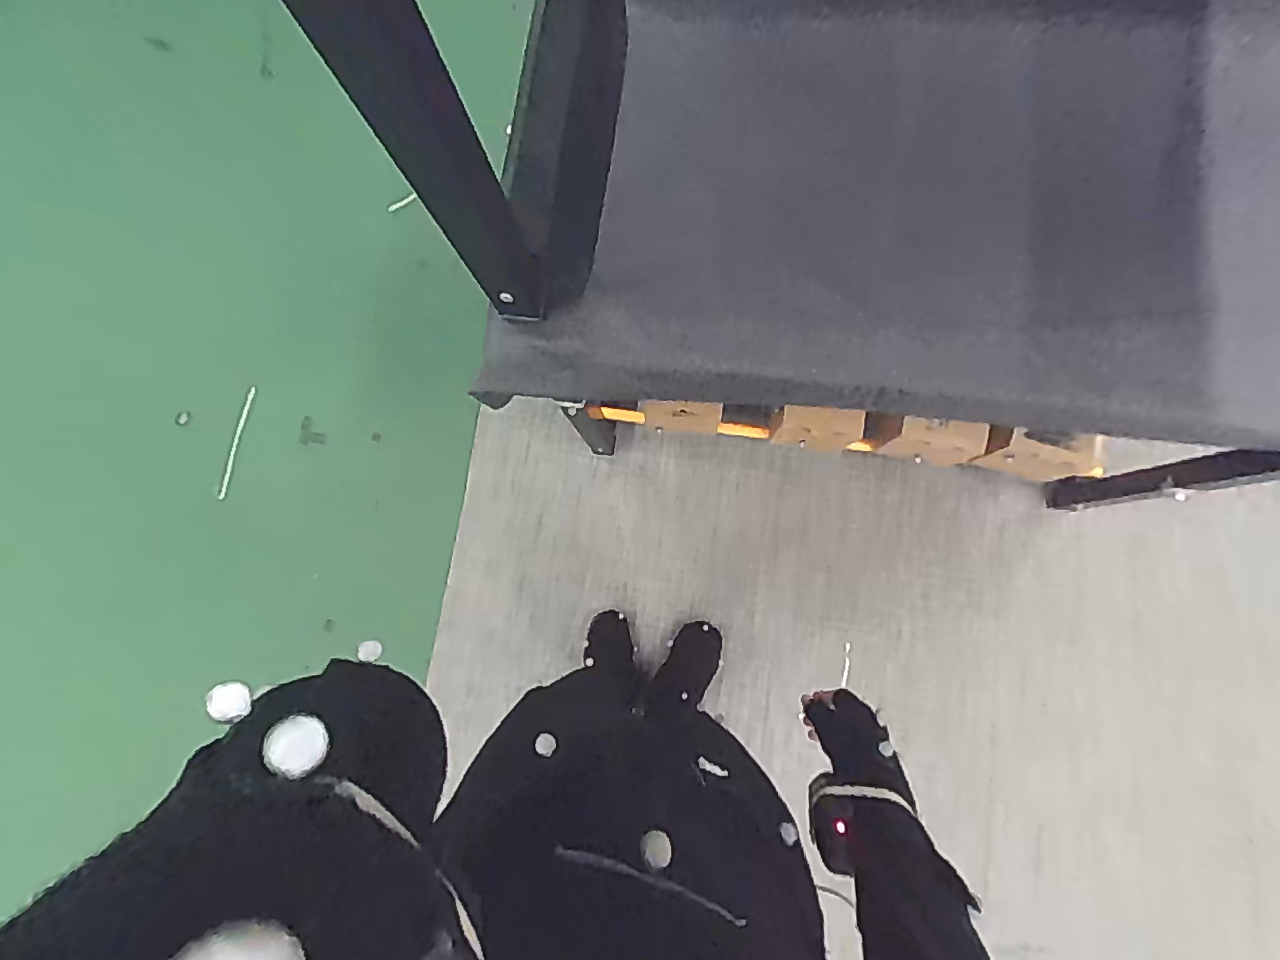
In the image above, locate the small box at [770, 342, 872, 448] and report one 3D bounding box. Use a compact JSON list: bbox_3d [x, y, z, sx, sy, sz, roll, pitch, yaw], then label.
[{"bbox_3d":[0.390,-0.180,1.188,0.168,0.176,0.179,9,84,5],"label":"small box"}]
